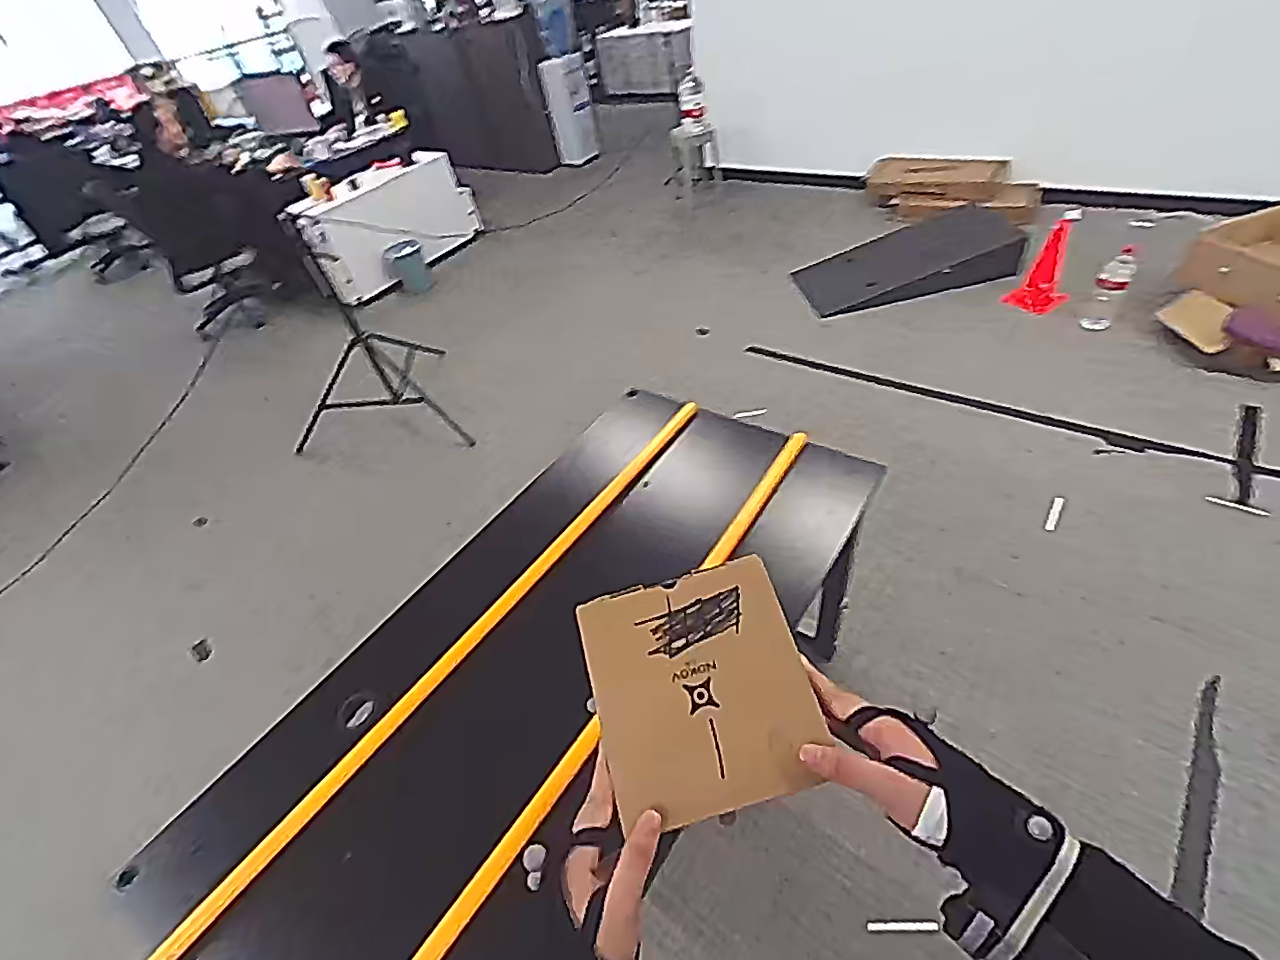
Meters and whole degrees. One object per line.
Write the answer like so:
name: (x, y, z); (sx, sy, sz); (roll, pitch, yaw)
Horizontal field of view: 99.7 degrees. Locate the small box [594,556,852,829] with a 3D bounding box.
small box: (0.064, 0.195, 0.498); (0.168, 0.176, 0.179); (-15, 62, -1)
